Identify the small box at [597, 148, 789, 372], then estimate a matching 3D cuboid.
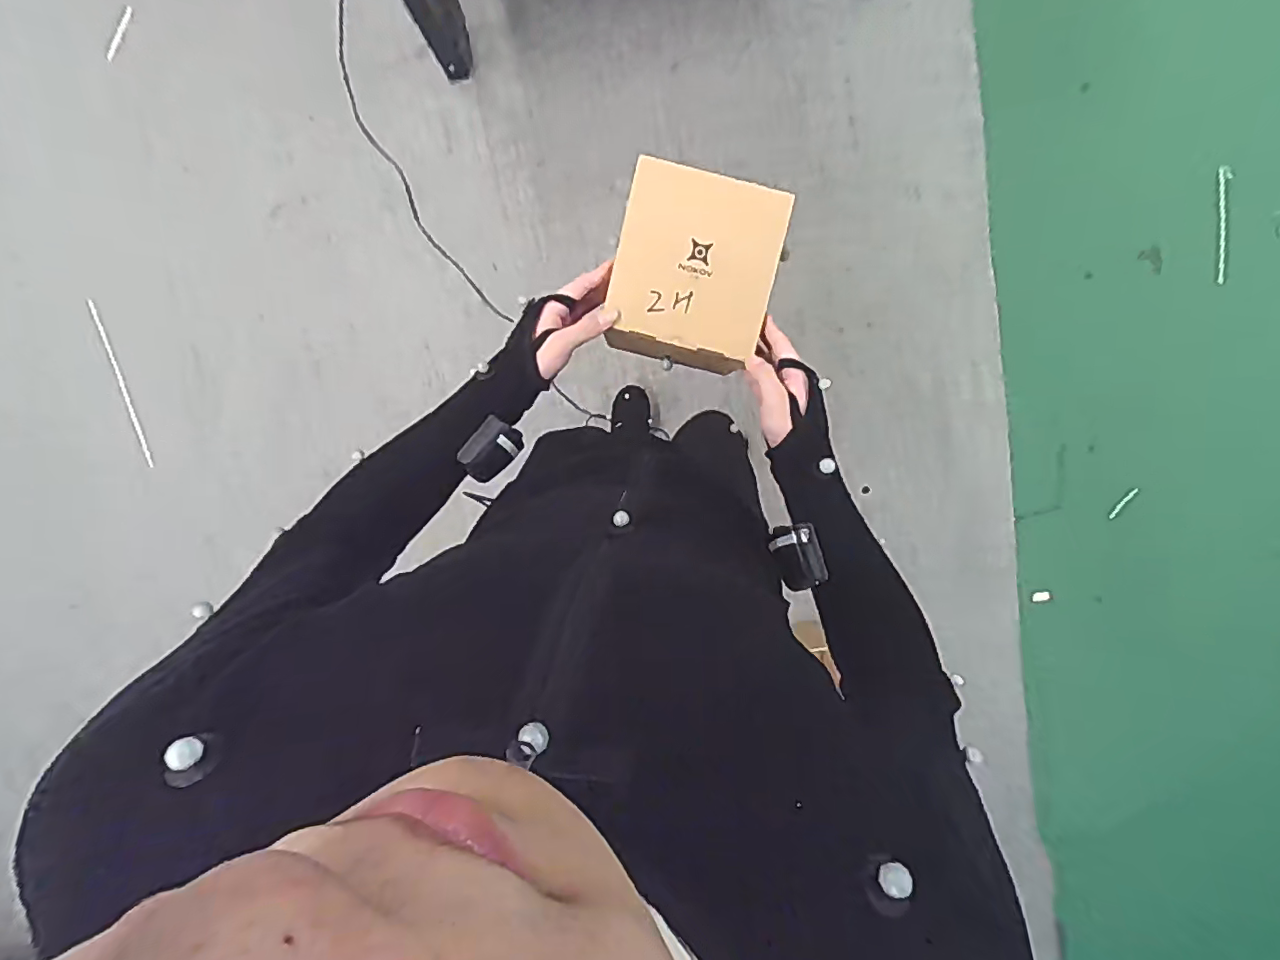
[{"bbox_3d":[0.051,-0.235,0.626,0.168,0.176,0.179,13,95,-2],"label":"small box"}]
